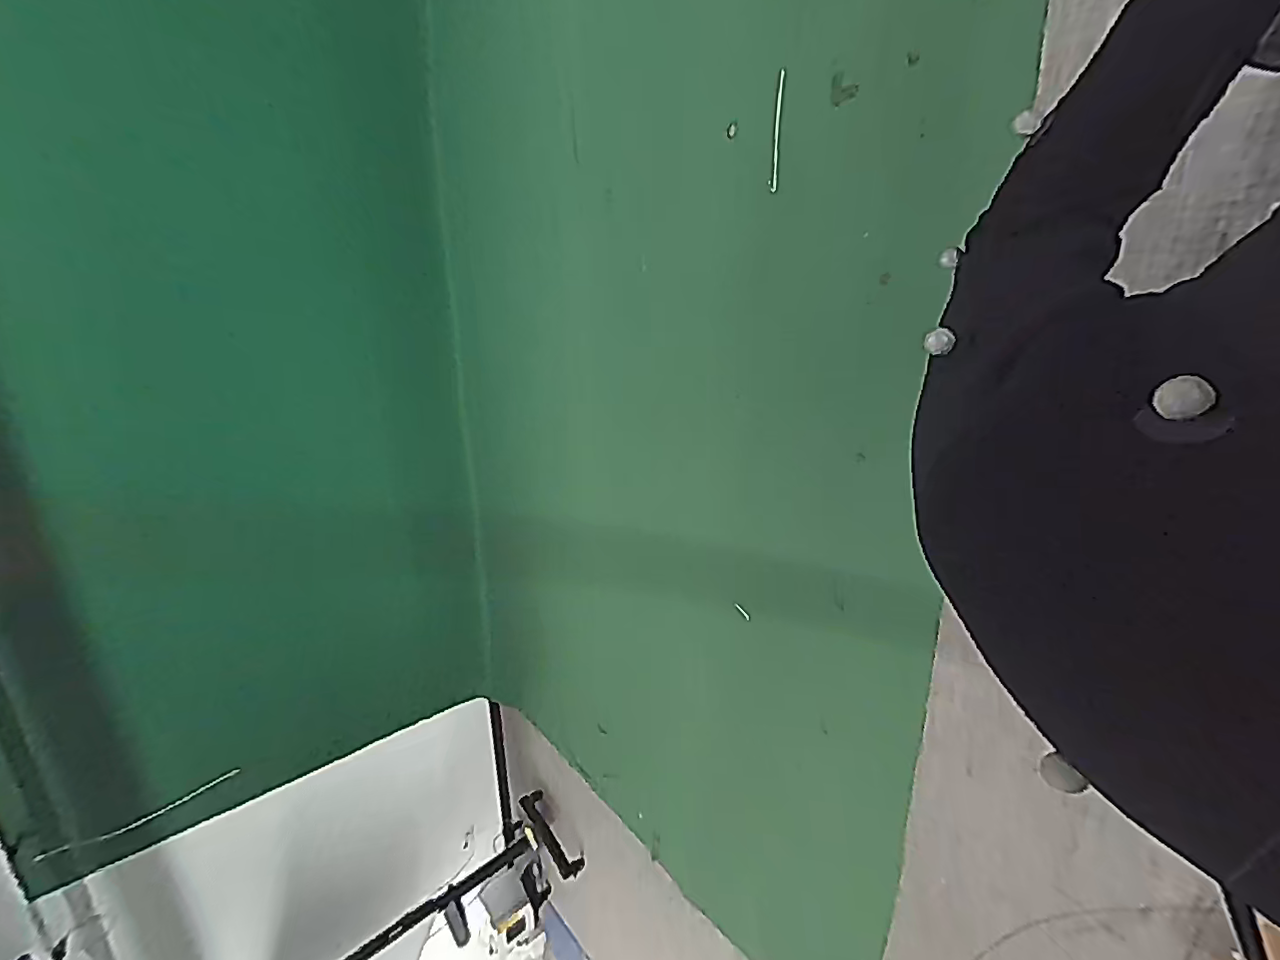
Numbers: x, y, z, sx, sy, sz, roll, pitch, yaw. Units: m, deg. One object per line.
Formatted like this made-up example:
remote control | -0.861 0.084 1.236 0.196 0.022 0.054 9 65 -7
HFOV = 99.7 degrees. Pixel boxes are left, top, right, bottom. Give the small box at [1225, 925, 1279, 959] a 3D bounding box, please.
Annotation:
small box | 1.283 1.030 1.042 0.179 0.176 0.168 36 126 40
